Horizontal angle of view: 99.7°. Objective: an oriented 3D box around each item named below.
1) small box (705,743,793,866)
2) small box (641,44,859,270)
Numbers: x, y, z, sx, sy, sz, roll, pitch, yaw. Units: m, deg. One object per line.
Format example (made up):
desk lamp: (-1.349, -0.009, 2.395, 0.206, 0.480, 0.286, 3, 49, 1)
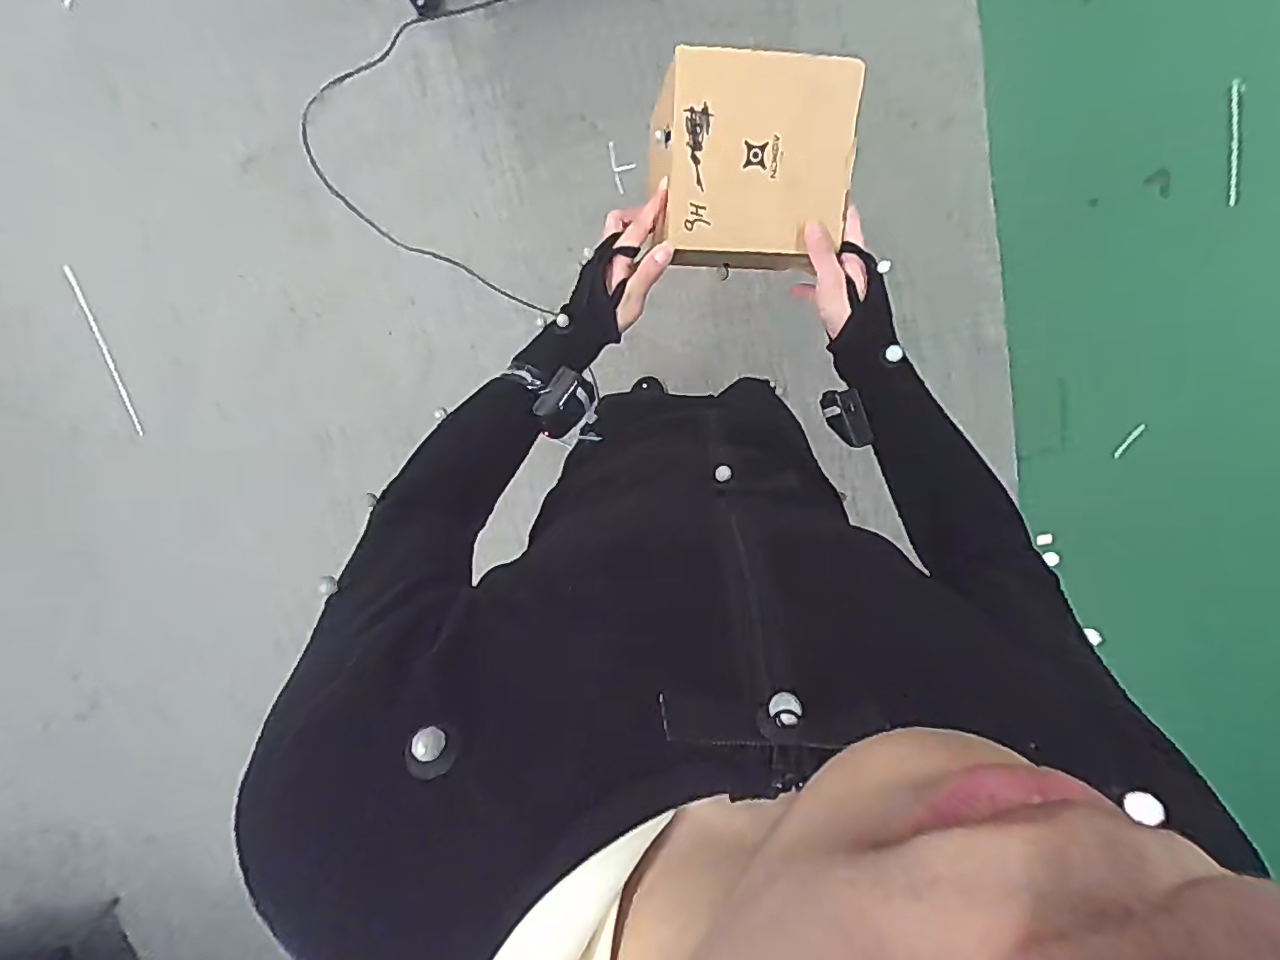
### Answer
small box: (0.253, 0.759, 1.278, 0.168, 0.176, 0.179, -10, 100, 2)
small box: (0.100, -0.320, 0.575, 0.179, 0.176, 0.168, 0, 106, -7)
